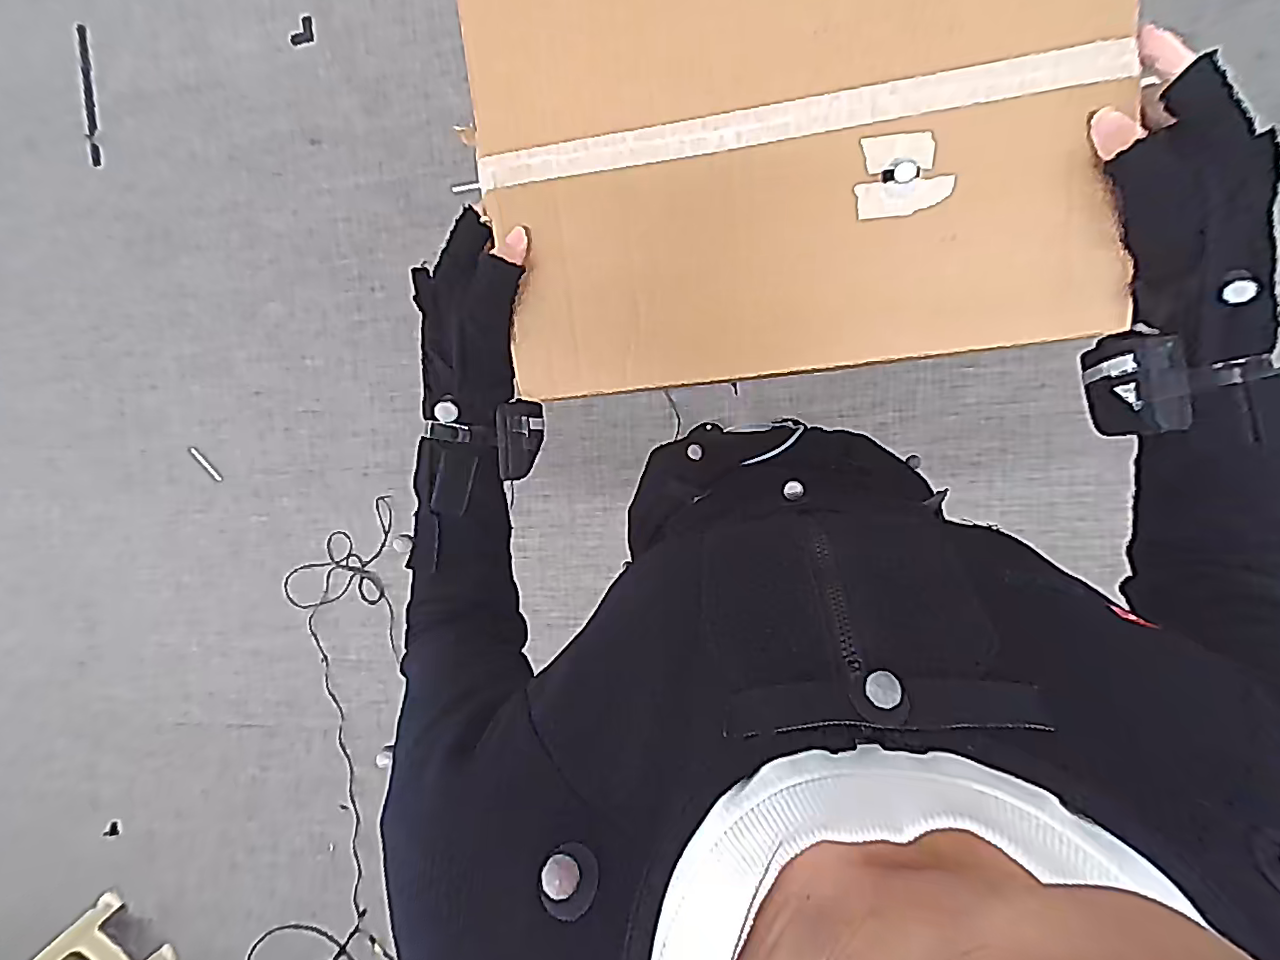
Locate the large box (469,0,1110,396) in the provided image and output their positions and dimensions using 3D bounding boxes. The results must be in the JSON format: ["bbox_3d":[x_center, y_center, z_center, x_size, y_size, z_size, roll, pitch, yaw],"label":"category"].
[{"bbox_3d":[0.108,-0.260,0.506,0.408,0.320,0.320,-6,100,7],"label":"large box"}]
